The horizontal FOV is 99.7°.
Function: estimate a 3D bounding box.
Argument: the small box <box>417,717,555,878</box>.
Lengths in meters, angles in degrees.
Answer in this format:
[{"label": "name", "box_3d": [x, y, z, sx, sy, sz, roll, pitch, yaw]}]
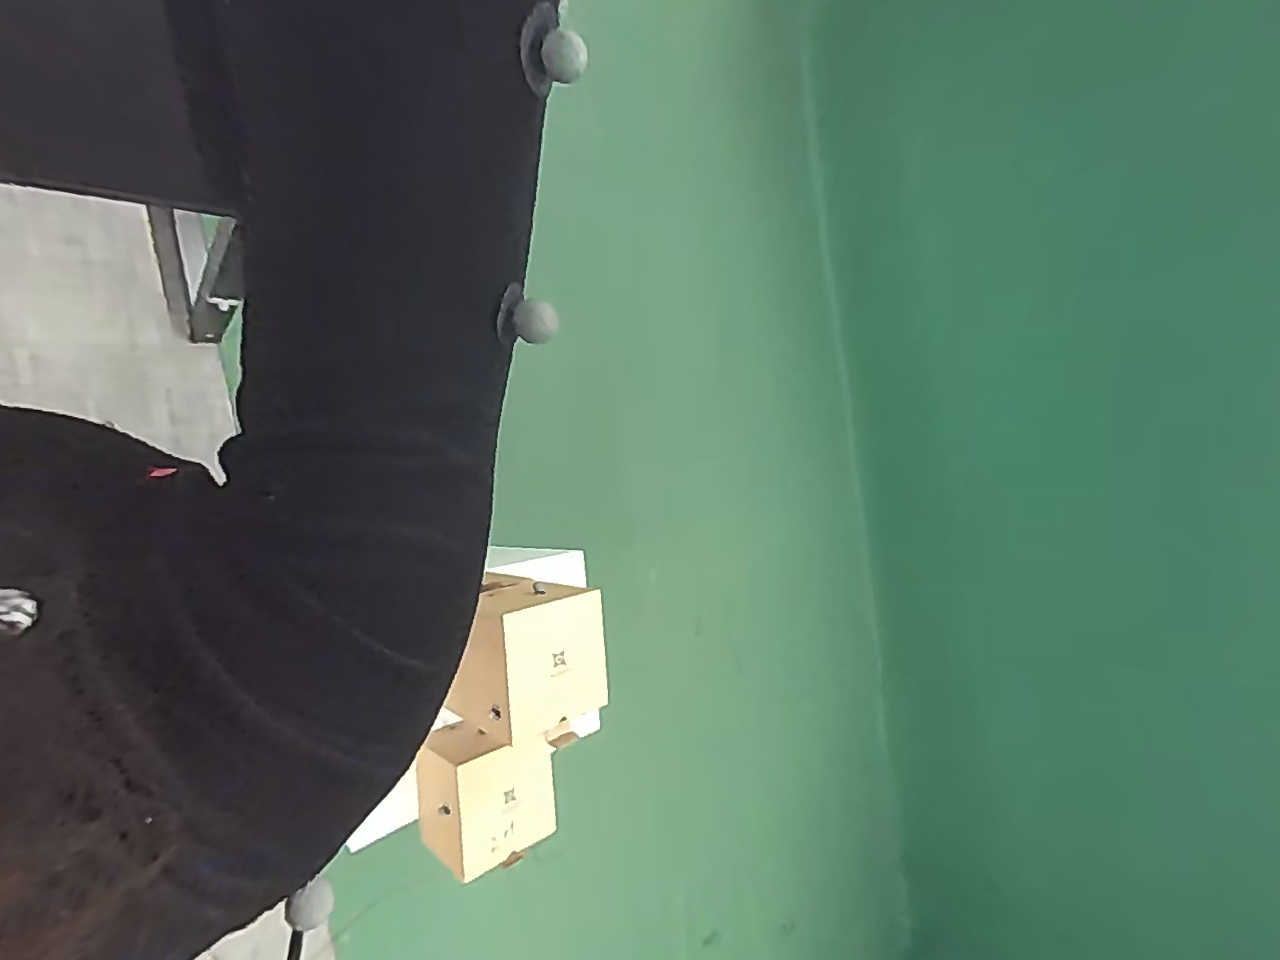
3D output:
[{"label": "small box", "box_3d": [-0.263, 0.507, 0.912, 0.168, 0.176, 0.179, -3, 88, -43]}]

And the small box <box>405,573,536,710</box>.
[{"label": "small box", "box_3d": [-0.281, 0.258, 0.916, 0.168, 0.176, 0.179, -8, 93, -44]}]

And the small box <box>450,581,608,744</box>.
[{"label": "small box", "box_3d": [-0.167, 0.251, 0.799, 0.168, 0.176, 0.179, -6, 93, -44]}]
